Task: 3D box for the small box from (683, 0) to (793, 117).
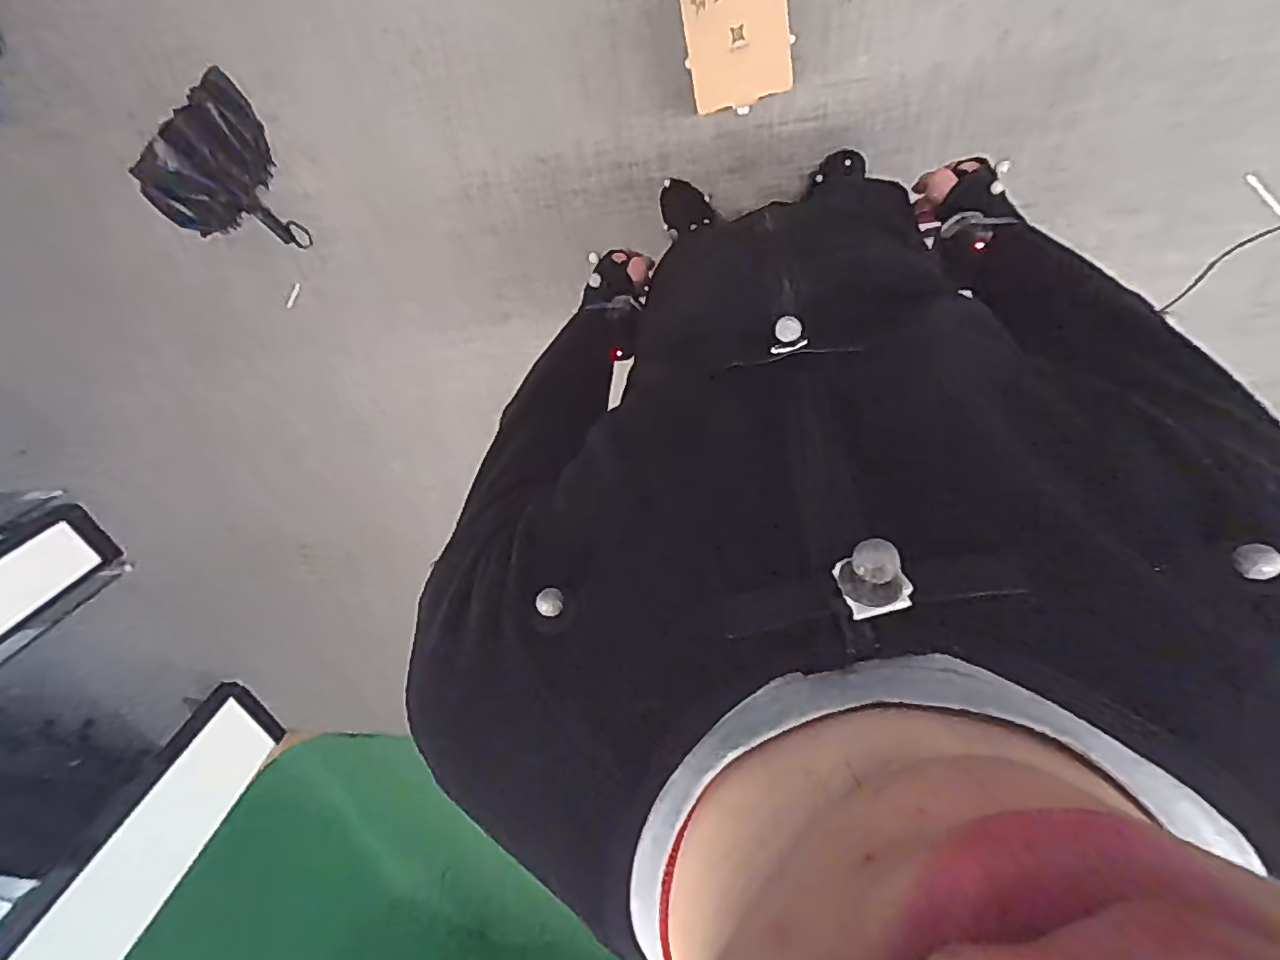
[{"bbox_3d":[0.177,-0.766,0.949,0.168,0.176,0.179,-6,124,16],"label":"small box"}]
